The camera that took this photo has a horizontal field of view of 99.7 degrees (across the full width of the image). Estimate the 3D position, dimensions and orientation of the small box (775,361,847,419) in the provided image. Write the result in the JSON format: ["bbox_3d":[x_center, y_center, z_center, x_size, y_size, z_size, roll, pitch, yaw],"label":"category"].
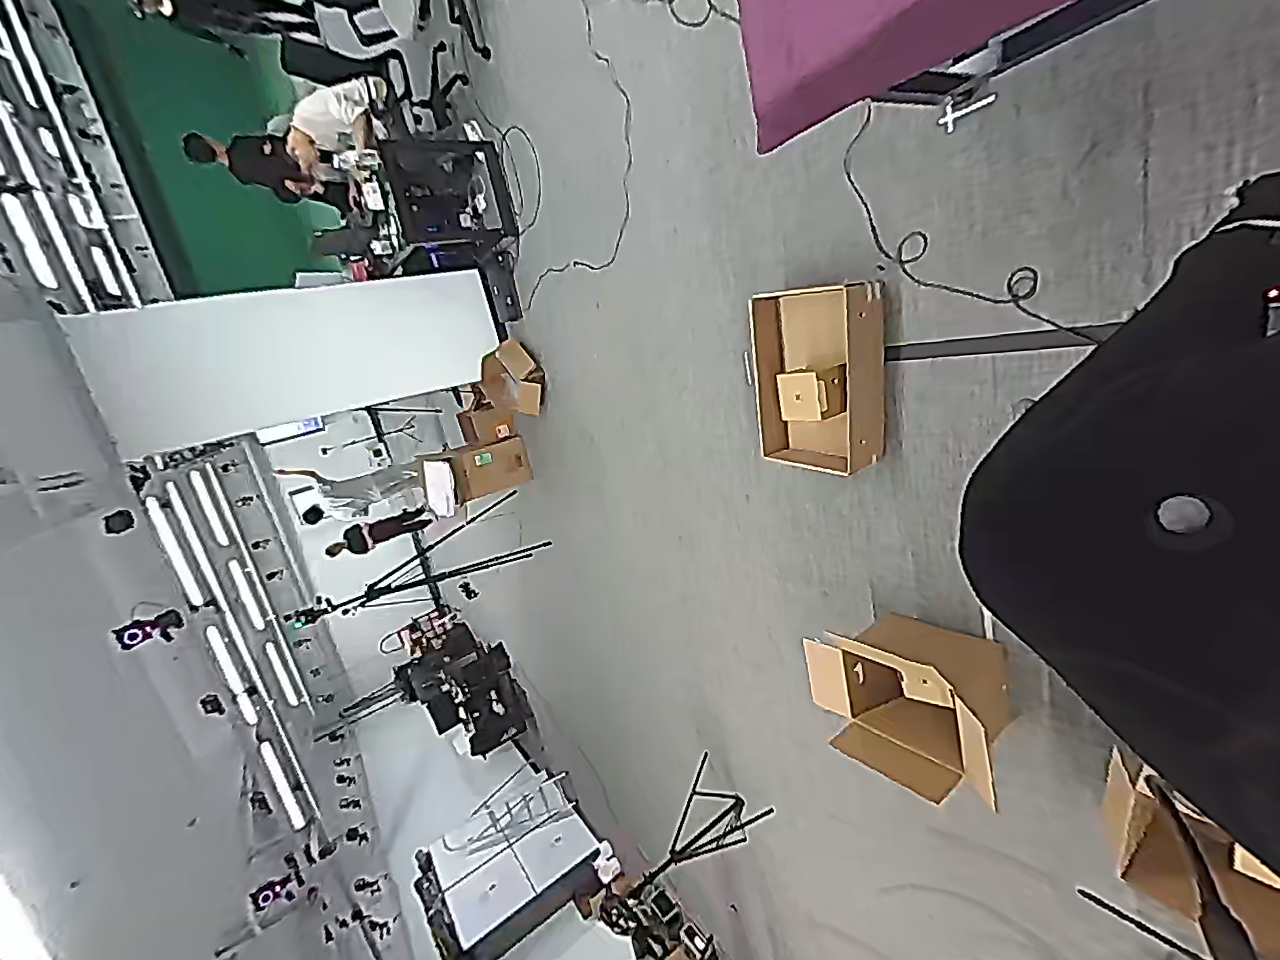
[{"bbox_3d":[0.600,-0.313,1.877,0.179,0.176,0.168,11,116,56],"label":"small box"}]
